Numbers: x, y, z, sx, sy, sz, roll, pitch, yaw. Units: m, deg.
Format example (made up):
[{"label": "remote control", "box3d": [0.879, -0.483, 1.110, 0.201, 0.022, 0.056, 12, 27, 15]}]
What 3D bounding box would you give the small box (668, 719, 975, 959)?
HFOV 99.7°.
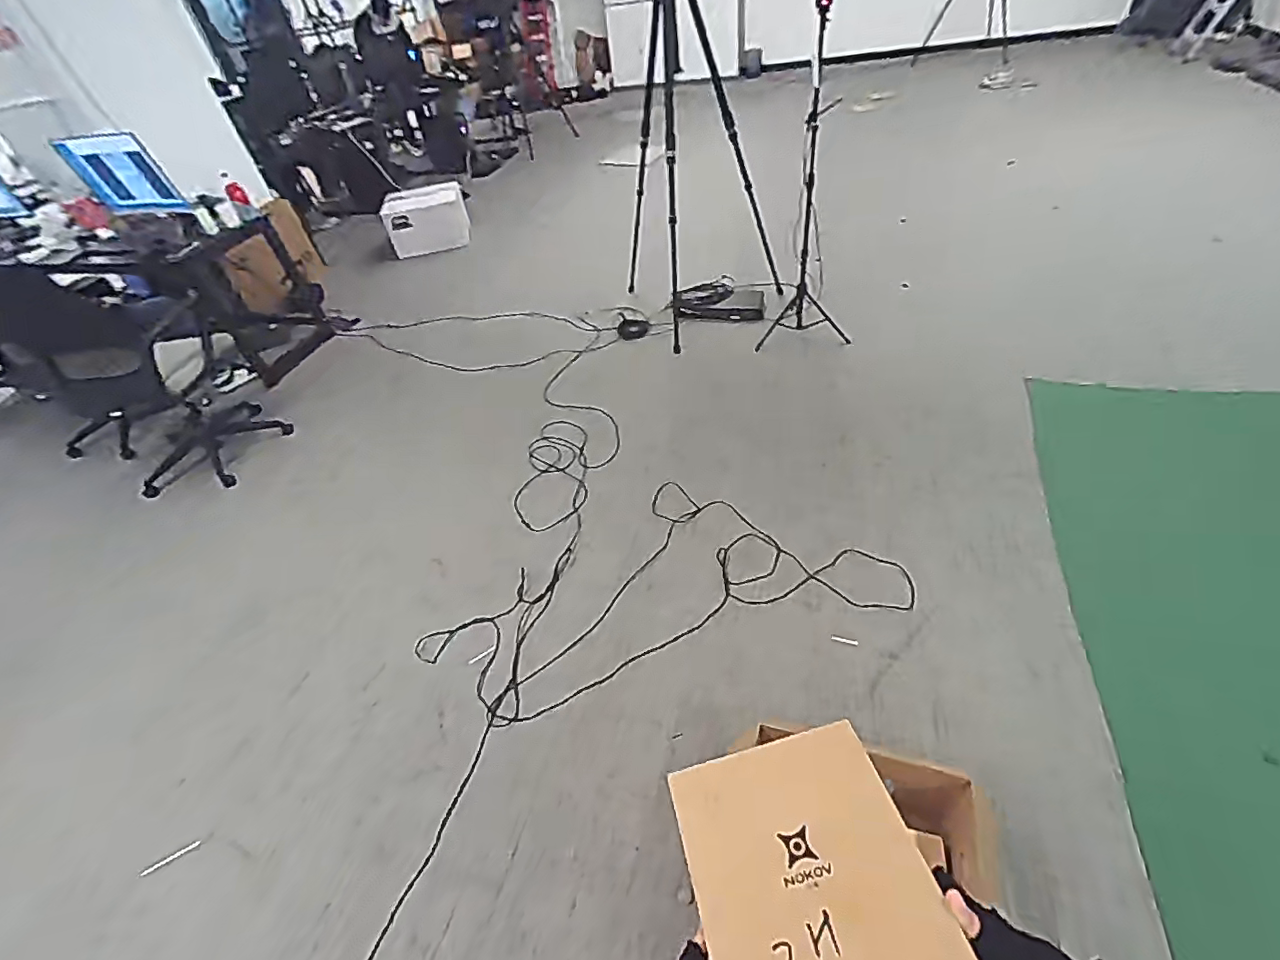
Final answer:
[{"label": "small box", "box3d": [0.131, 0.335, 0.440, 0.168, 0.176, 0.179, -16, 38, -1]}]
